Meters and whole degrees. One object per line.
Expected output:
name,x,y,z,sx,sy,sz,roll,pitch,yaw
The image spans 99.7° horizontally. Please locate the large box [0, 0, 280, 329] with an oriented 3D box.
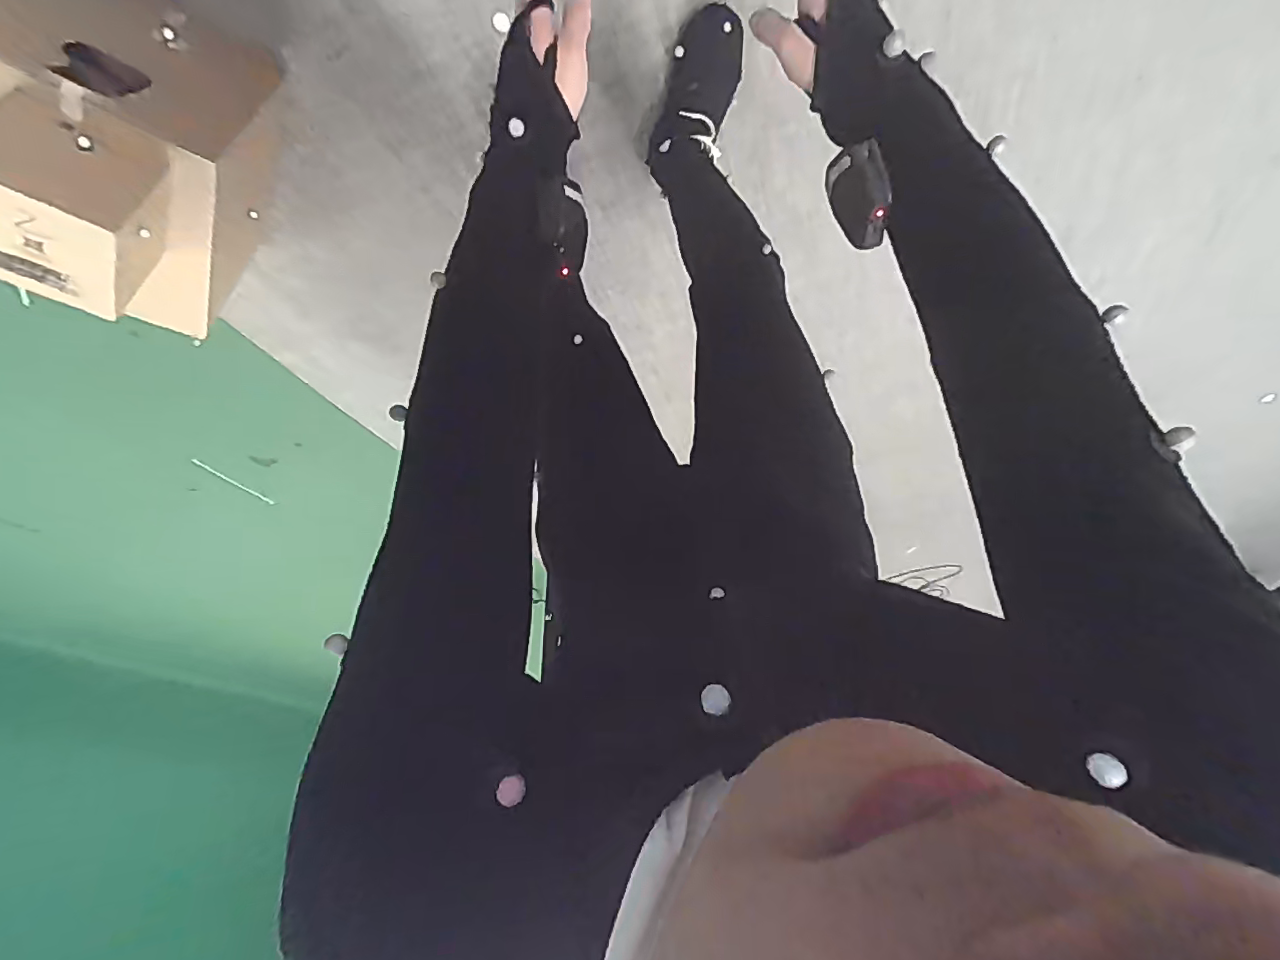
large box,-0.847,-0.549,0.913,0.320,0.320,0.408,21,141,-29
